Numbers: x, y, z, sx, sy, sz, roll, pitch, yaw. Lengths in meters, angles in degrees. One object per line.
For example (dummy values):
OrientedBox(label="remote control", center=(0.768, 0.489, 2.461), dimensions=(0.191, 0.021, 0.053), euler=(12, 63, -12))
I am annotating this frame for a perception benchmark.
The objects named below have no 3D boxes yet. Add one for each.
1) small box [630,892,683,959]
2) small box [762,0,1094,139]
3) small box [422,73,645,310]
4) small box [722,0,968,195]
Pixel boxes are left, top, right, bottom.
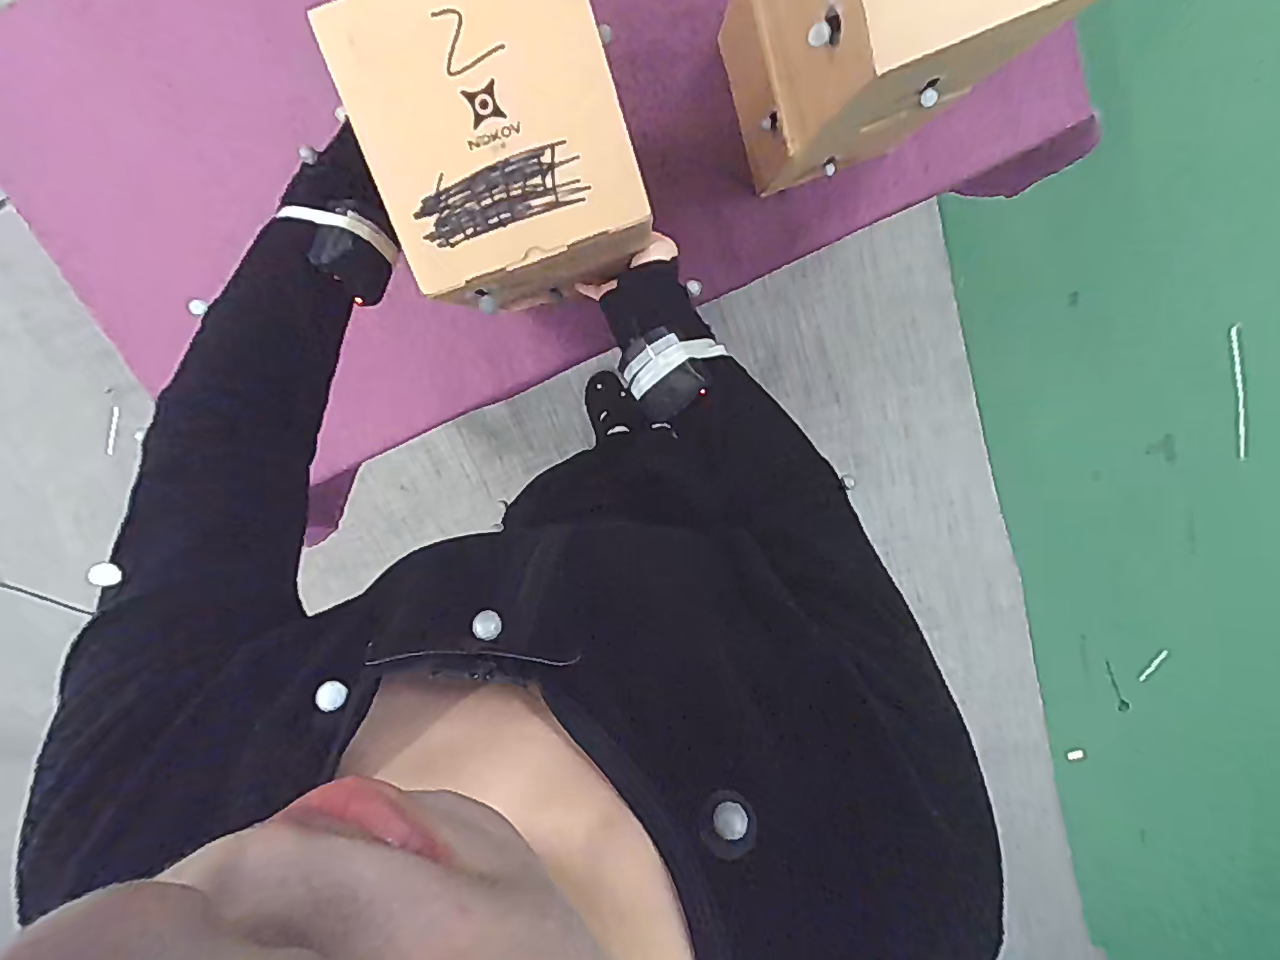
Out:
OrientedBox(label="small box", center=(0.058, 1.567, 1.855), dimensions=(0.168, 0.176, 0.179), euler=(-8, 106, 2))
OrientedBox(label="small box", center=(0.193, -0.378, 0.390), dimensions=(0.168, 0.176, 0.179), euler=(-20, 105, 5))
OrientedBox(label="small box", center=(-0.097, -0.288, 0.585), dimensions=(0.179, 0.176, 0.168), euler=(-14, 105, 5))
OrientedBox(label="small box", center=(0.192, -0.423, 0.549), dimensions=(0.168, 0.176, 0.179), euler=(-18, 105, 5))
